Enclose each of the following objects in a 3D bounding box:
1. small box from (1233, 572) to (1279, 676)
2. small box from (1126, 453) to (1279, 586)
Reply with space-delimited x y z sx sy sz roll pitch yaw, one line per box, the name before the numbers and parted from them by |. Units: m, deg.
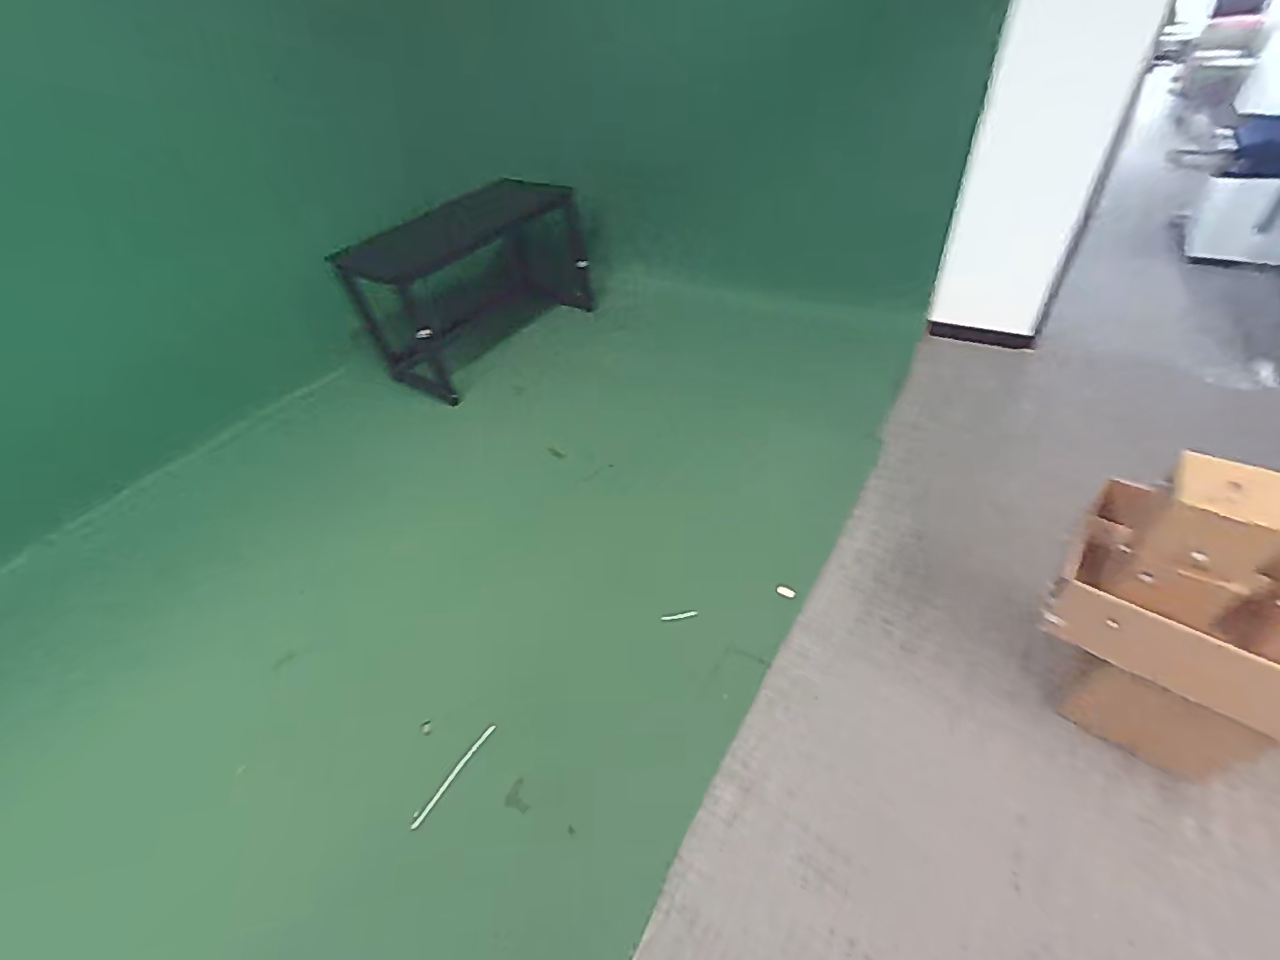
small box | 1.372 0.301 1.100 0.168 0.176 0.179 27 56 30
small box | 1.151 0.081 1.115 0.168 0.176 0.179 24 54 29
